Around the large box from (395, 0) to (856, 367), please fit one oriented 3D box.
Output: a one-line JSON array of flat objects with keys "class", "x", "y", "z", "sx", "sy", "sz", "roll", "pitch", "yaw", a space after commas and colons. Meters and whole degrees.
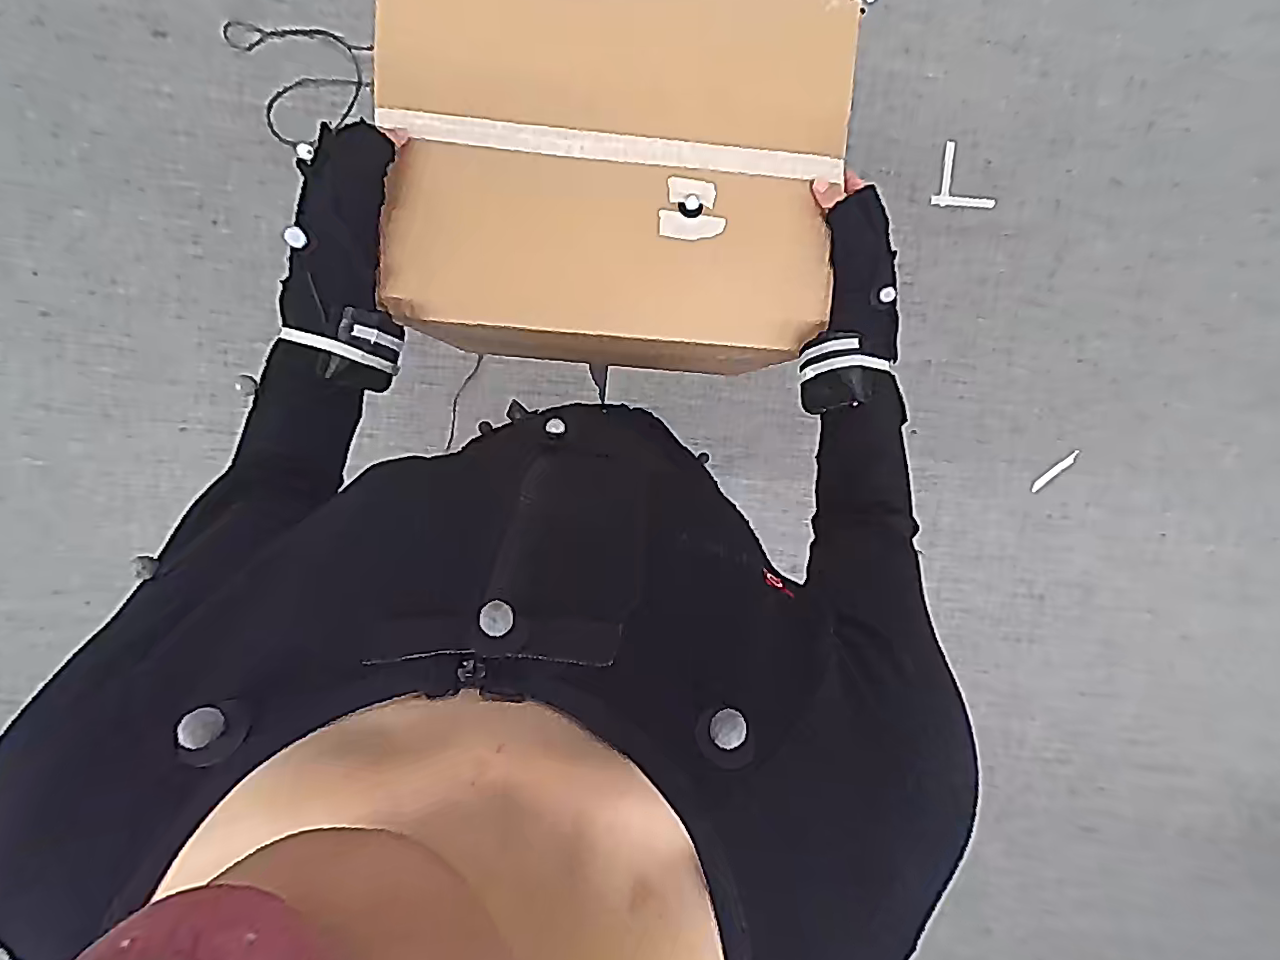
[{"class": "large box", "x": -0.026, "y": -0.313, "z": 0.627, "sx": 0.408, "sy": 0.320, "sz": 0.320, "roll": 4, "pitch": 97, "yaw": -5}]
